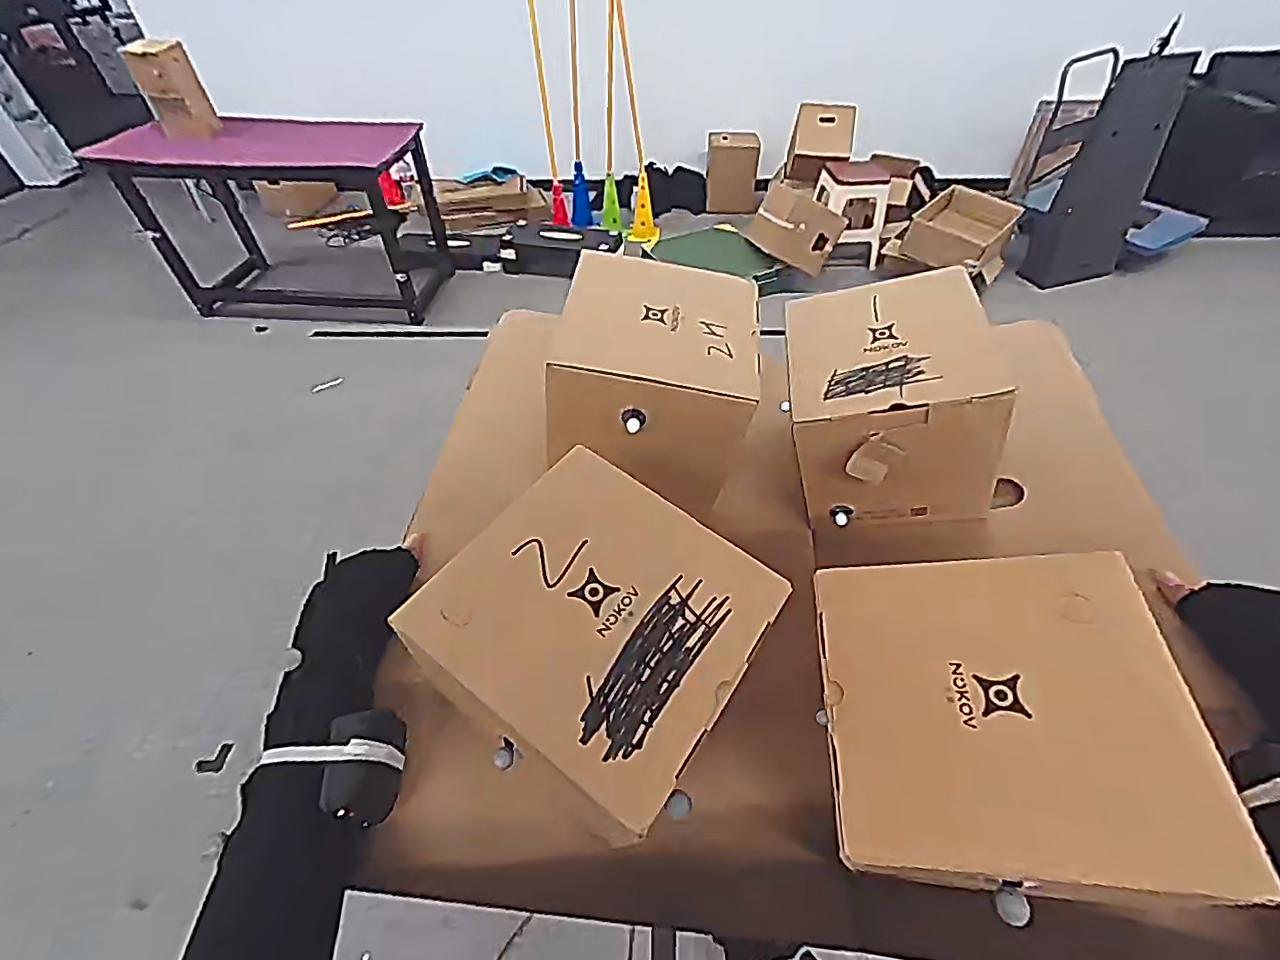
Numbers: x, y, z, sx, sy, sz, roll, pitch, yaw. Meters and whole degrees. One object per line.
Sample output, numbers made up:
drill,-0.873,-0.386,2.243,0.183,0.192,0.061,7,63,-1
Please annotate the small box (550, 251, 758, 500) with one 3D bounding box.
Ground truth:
small box,0.011,-0.098,0.548,0.179,0.176,0.168,10,54,-3

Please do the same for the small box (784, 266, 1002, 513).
small box,0.242,-0.078,0.546,0.168,0.176,0.179,-6,50,20
